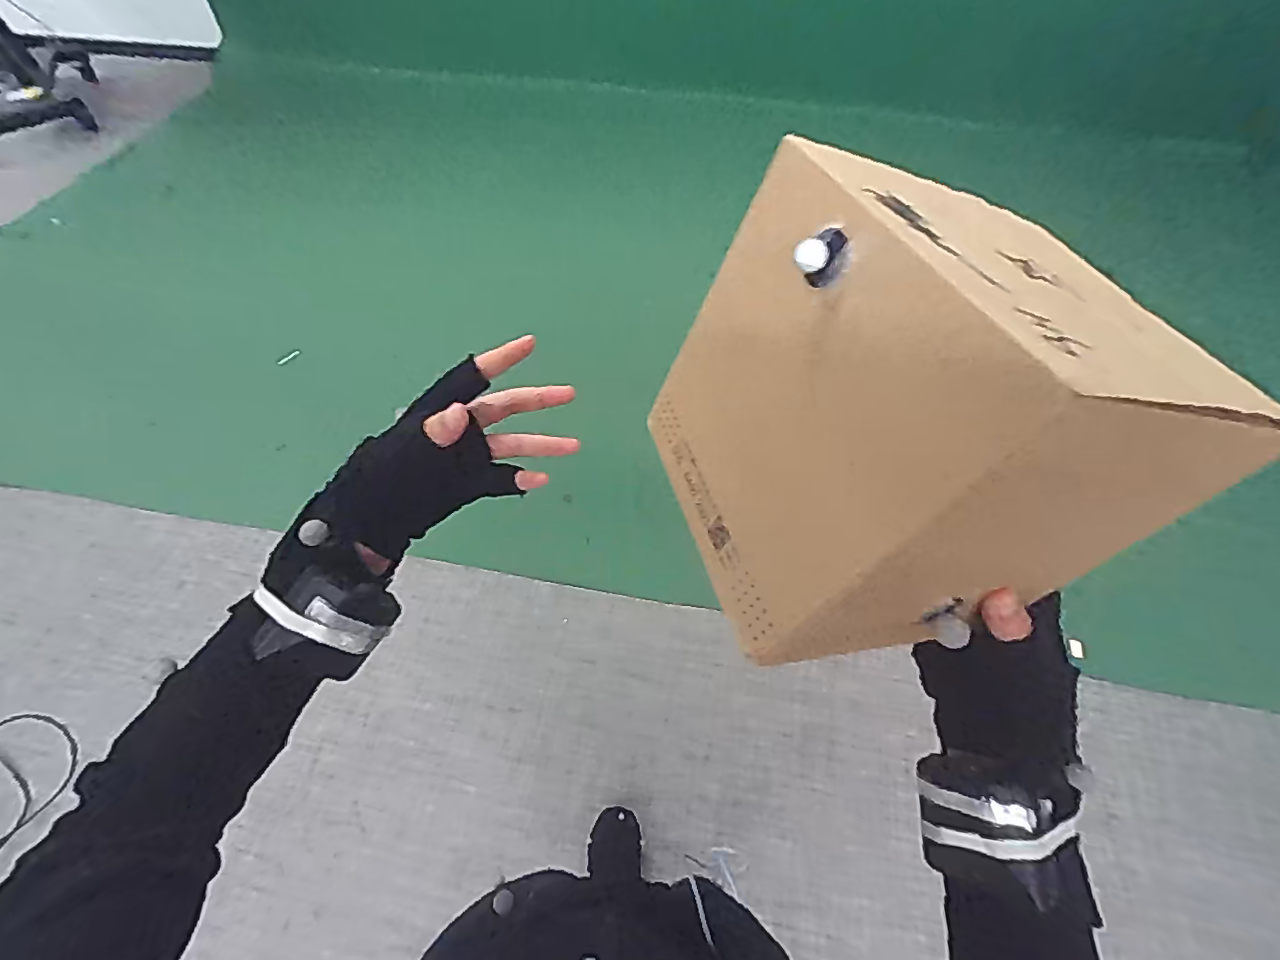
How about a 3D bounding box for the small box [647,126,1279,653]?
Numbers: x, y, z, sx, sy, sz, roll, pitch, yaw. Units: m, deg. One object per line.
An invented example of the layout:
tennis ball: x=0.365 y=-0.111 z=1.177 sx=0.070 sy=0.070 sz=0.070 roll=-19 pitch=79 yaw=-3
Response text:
small box: x=0.128 y=-0.031 z=0.272 sx=0.179 sy=0.176 sz=0.168 roll=2 pitch=49 yaw=-27
